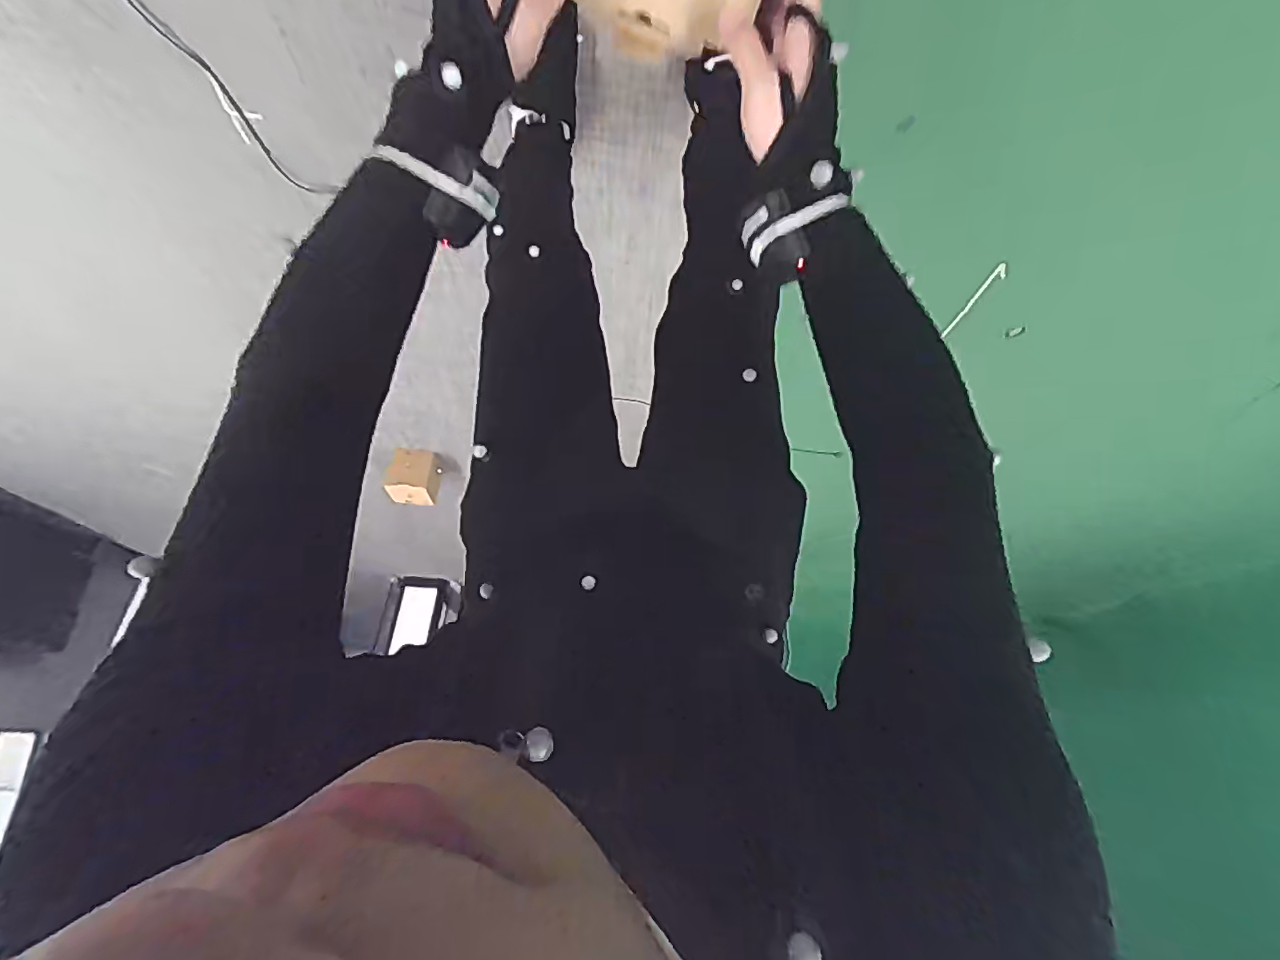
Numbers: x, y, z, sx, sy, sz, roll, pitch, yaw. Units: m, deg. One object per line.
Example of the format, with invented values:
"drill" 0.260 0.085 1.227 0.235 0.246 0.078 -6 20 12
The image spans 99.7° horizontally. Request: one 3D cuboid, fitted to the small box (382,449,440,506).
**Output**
"small box" -0.935 -0.011 2.222 0.168 0.176 0.179 6 152 -5
